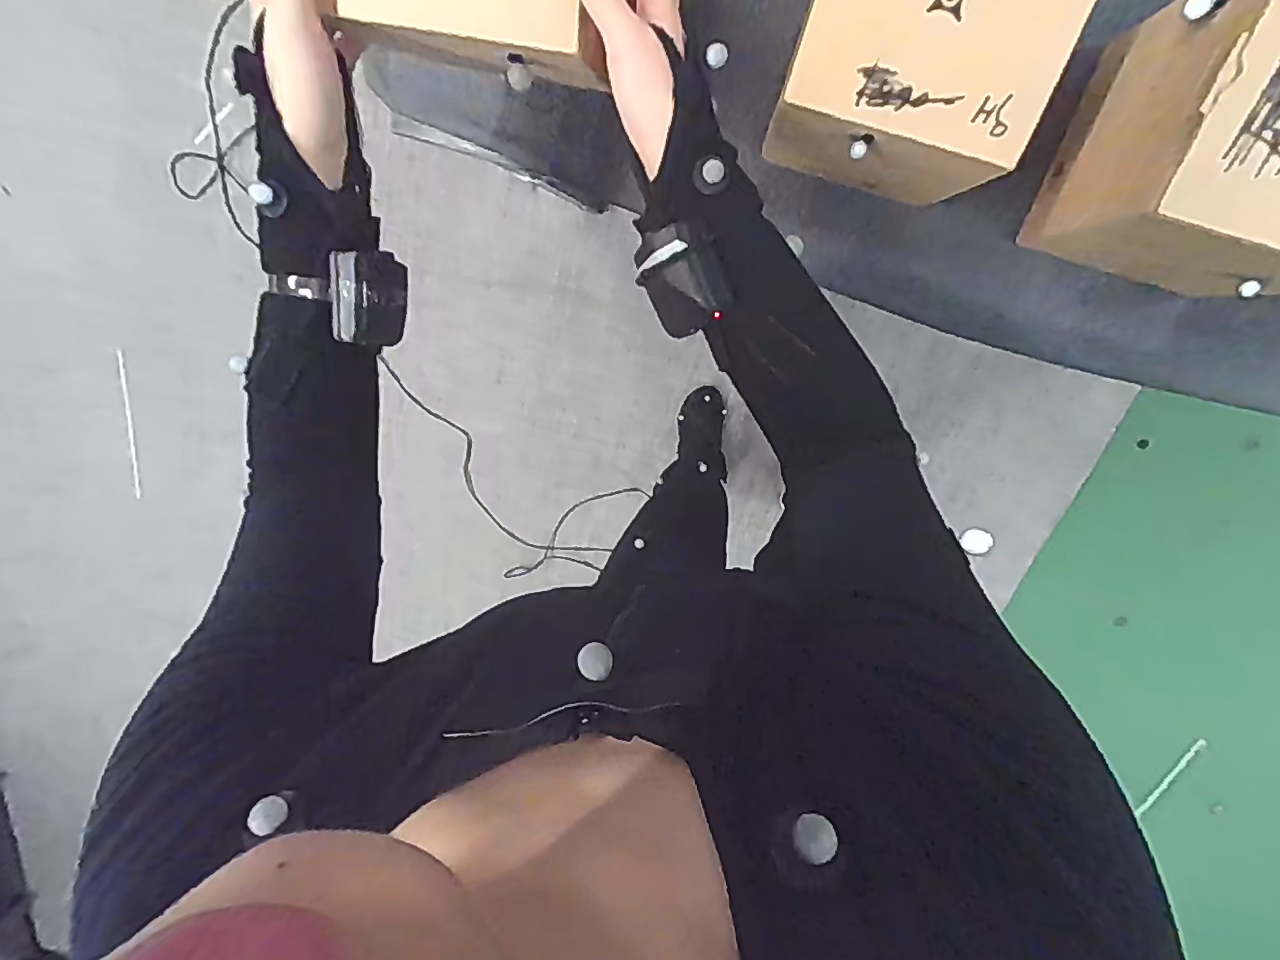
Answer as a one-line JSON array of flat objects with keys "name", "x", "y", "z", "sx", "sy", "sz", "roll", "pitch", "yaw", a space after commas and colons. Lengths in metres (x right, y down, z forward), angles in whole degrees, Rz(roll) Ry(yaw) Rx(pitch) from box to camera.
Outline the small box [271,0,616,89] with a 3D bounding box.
[{"name": "small box", "x": -0.104, "y": -0.360, "z": 0.334, "sx": 0.179, "sy": 0.176, "sz": 0.168, "roll": 10, "pitch": 120, "yaw": 1}]
